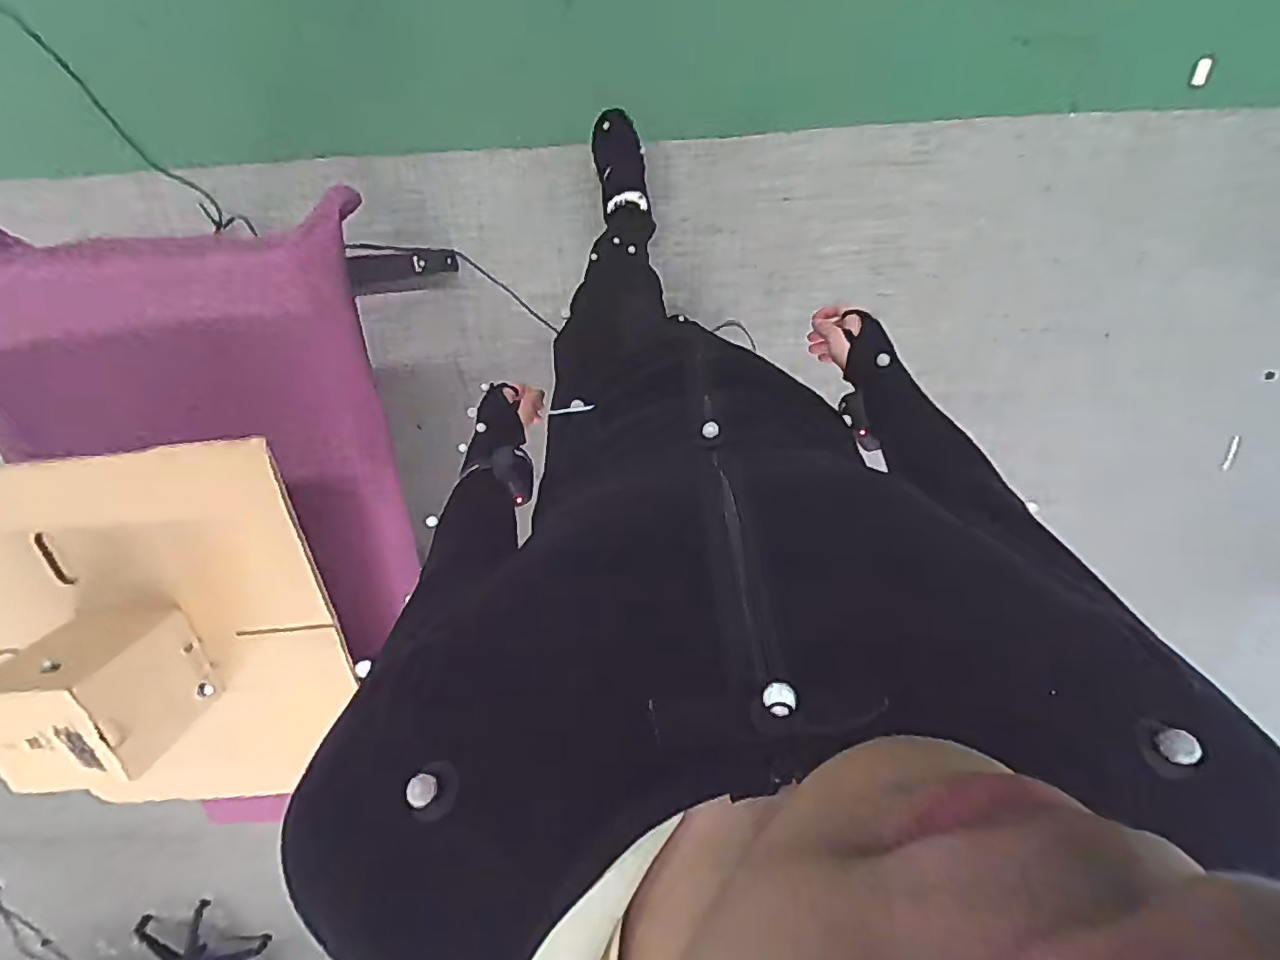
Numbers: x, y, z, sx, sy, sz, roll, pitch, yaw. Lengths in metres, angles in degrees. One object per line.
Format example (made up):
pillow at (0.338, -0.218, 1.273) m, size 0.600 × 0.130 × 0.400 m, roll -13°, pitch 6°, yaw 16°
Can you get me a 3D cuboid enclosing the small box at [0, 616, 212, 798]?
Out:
small box at (-0.748, 0.305, 0.751) m, size 0.179 × 0.176 × 0.168 m, roll -5°, pitch 111°, yaw 5°
